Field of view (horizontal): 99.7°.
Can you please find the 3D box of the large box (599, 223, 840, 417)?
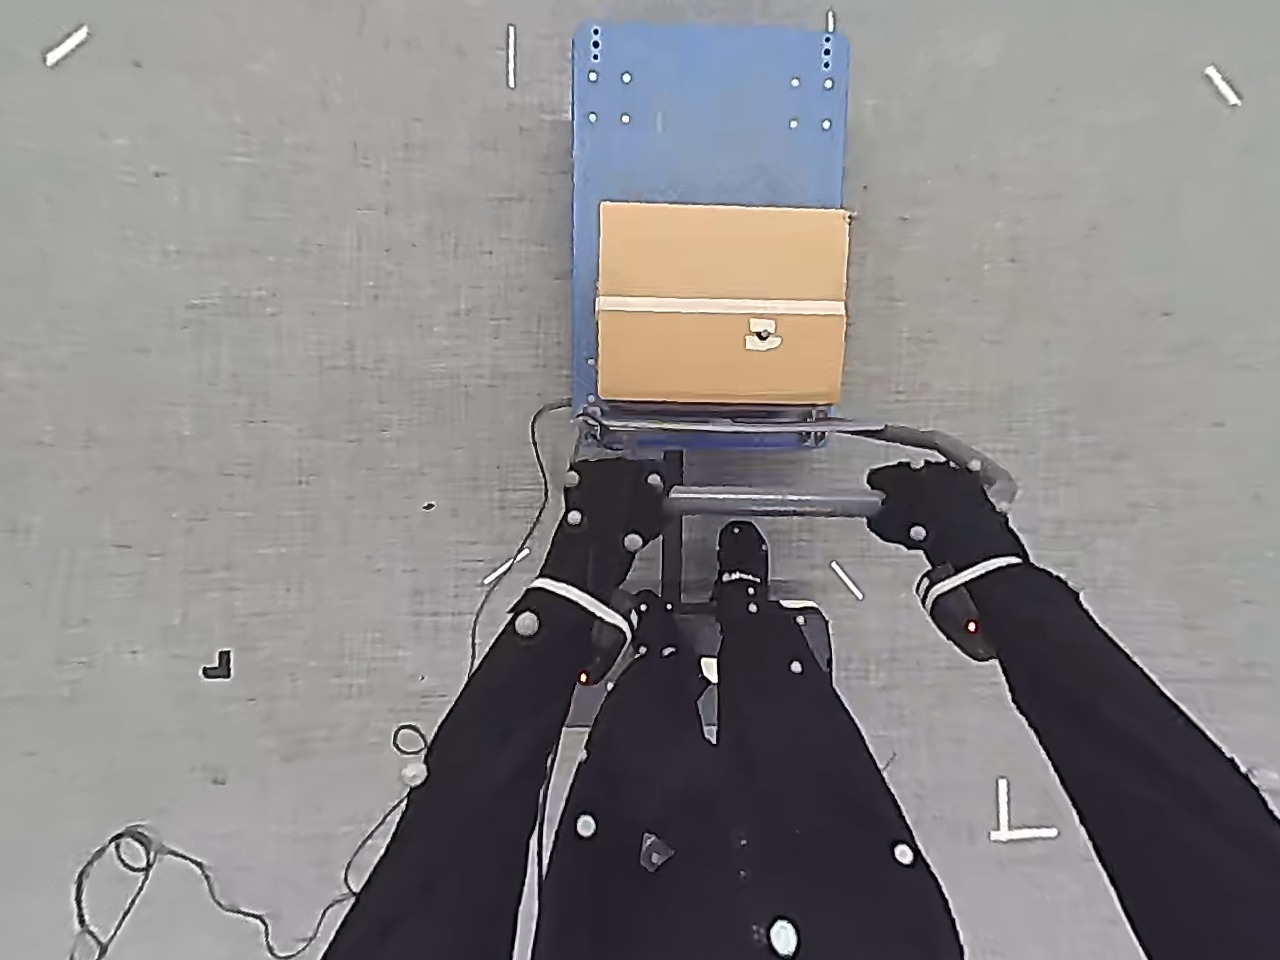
[{"bbox_3d":[0.126,-0.281,1.051,0.408,0.320,0.320,1,97,-3],"label":"large box"}]
